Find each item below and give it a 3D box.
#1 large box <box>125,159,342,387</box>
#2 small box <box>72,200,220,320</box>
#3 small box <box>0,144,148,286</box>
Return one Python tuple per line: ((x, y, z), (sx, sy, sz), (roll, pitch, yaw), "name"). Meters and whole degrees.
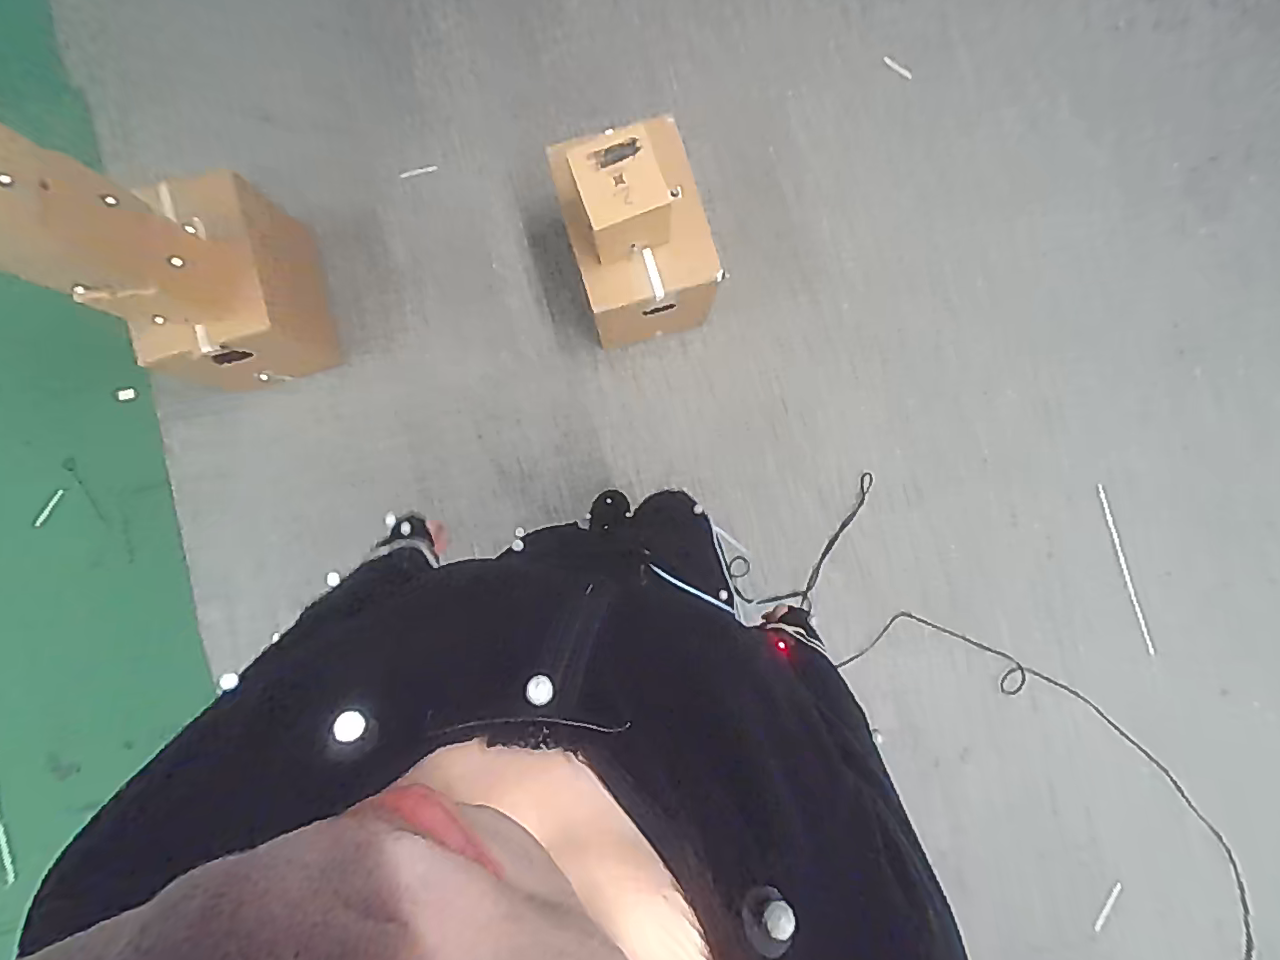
((-1.032, -0.496, 1.375), (0.320, 0.320, 0.408), (-16, 87, 0), "large box")
((-1.025, -0.452, 1.131), (0.168, 0.176, 0.179), (-5, 89, 1), "small box")
((-1.034, -0.464, 0.969), (0.168, 0.176, 0.179), (-2, 89, 1), "small box")
